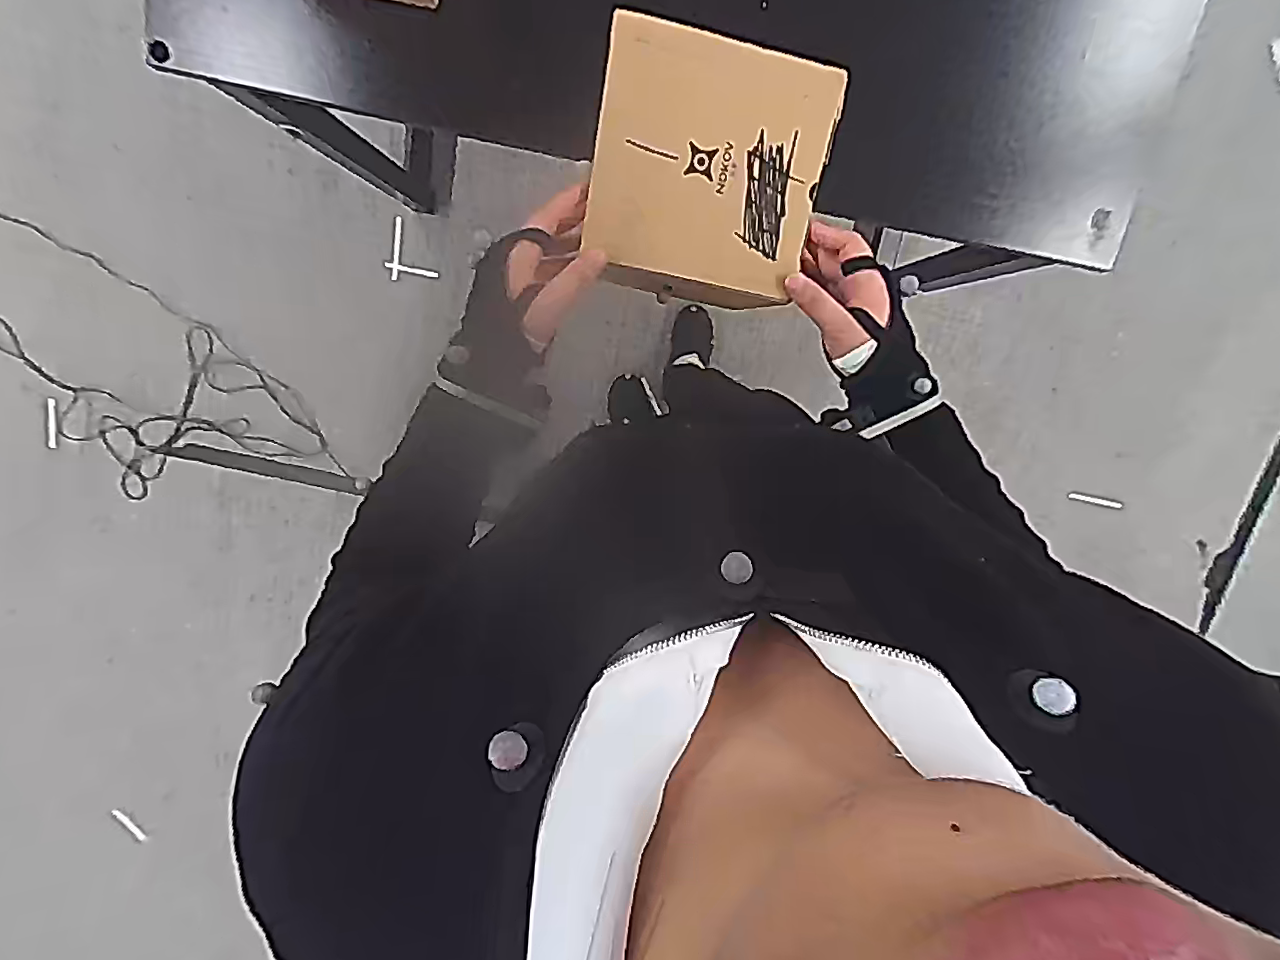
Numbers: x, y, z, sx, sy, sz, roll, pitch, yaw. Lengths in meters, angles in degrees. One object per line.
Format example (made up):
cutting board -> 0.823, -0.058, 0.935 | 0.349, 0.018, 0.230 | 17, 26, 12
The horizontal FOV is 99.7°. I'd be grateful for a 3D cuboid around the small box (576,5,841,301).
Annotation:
small box -> 0.043, -0.261, 0.484 | 0.179, 0.176, 0.168 | 9, 104, -8
